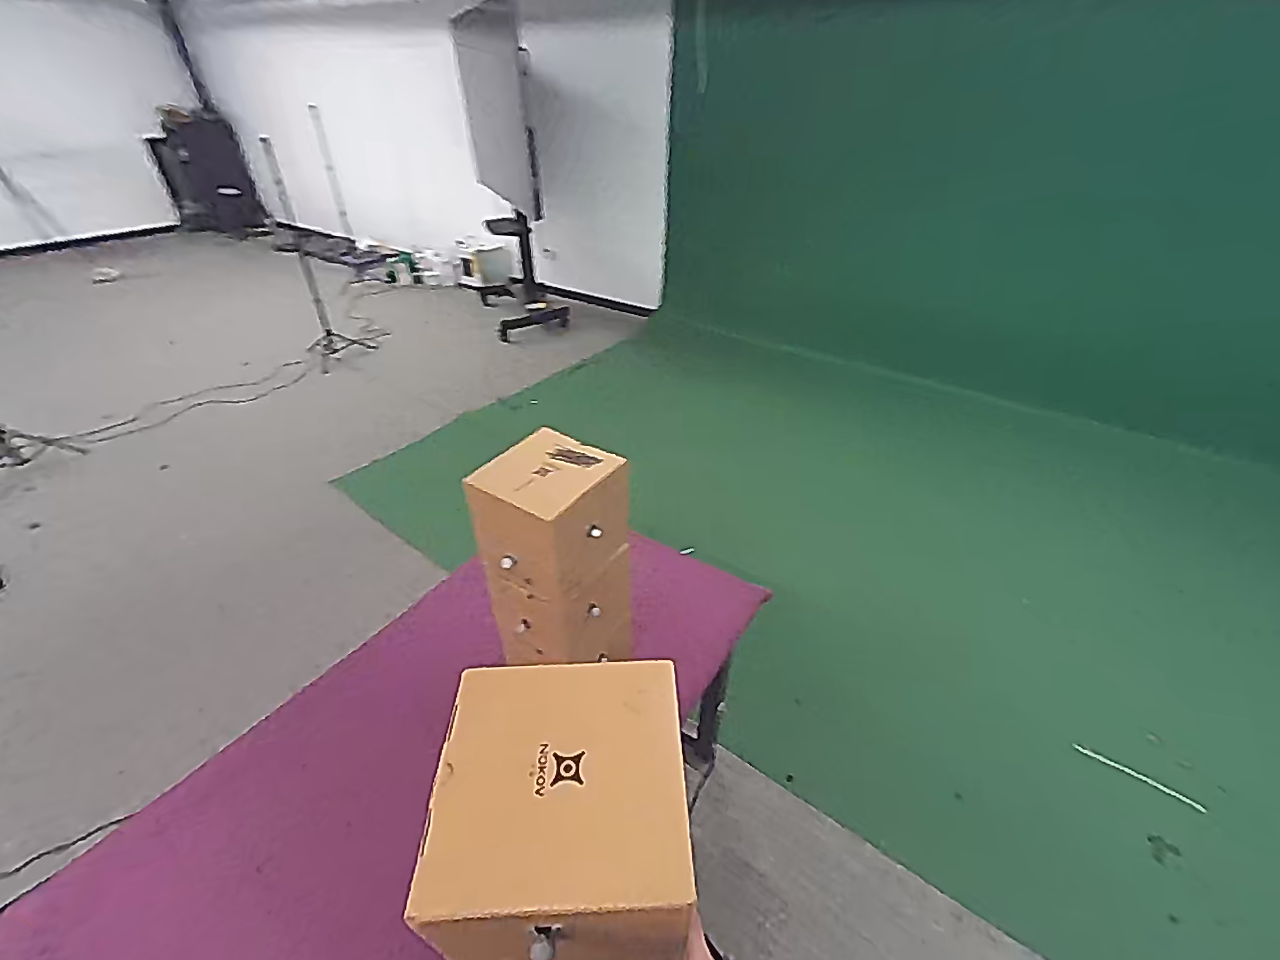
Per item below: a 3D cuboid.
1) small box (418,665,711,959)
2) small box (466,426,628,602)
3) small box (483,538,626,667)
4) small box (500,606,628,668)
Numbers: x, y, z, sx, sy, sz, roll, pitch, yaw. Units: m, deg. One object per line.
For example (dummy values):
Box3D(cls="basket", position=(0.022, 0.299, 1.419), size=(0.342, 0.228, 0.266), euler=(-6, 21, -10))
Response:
Box3D(cls="small box", position=(-0.045, 0.267, 0.429), size=(0.179, 0.176, 0.168), euler=(-2, 40, 0))
Box3D(cls="small box", position=(-0.134, 0.048, 0.824), size=(0.168, 0.176, 0.179), euler=(22, 43, 26))
Box3D(cls="small box", position=(-0.133, 0.181, 0.921), size=(0.168, 0.176, 0.179), euler=(23, 43, 26))
Box3D(cls="small box", position=(-0.134, 0.313, 1.017), size=(0.168, 0.176, 0.179), euler=(24, 42, 28))
